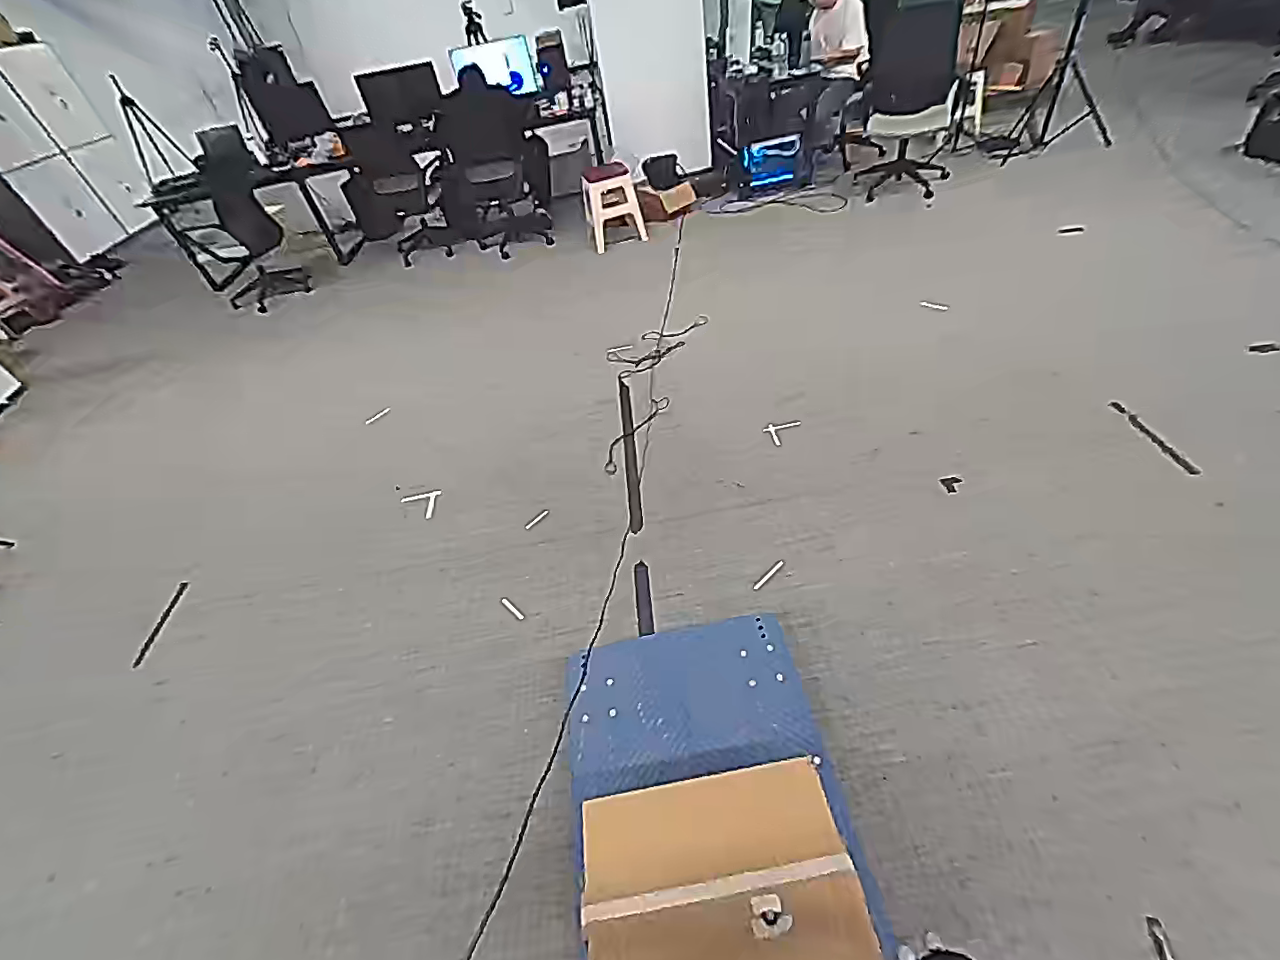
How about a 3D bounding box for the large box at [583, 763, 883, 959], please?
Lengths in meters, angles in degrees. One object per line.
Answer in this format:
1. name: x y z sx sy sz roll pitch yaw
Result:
1. large box: 0.140 0.729 0.897 0.408 0.320 0.320 -12 42 0
